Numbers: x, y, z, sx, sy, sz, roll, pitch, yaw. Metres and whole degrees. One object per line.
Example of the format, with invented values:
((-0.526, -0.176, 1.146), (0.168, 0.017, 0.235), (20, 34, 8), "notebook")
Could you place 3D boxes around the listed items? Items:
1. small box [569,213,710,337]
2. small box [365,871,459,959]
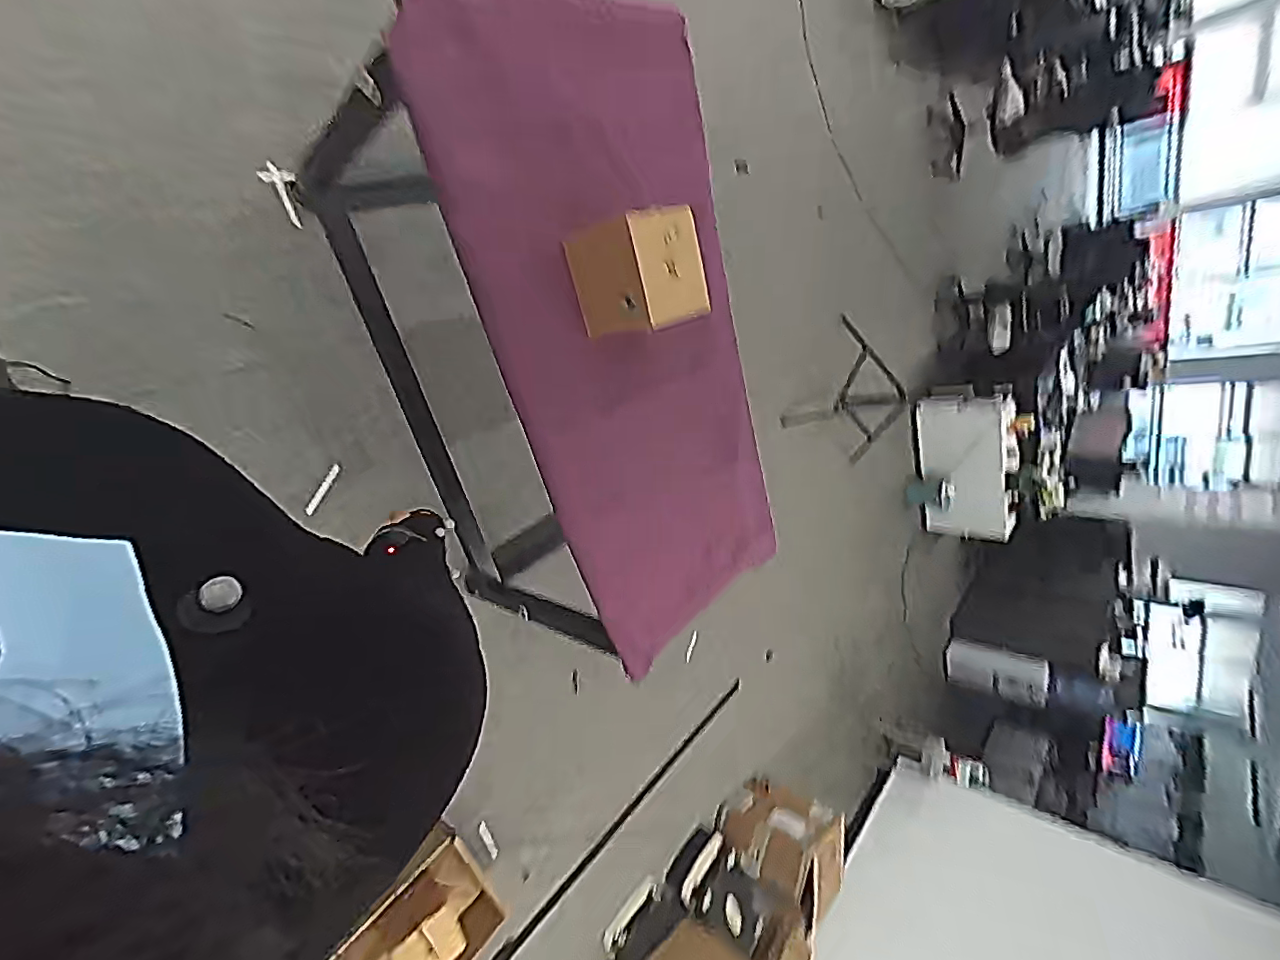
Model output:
((-0.001, -0.362, 0.973), (0.168, 0.176, 0.179), (-30, 114, -39), "small box")
((-0.623, 1.232, 1.477), (0.168, 0.176, 0.179), (-23, 111, -39), "small box")
